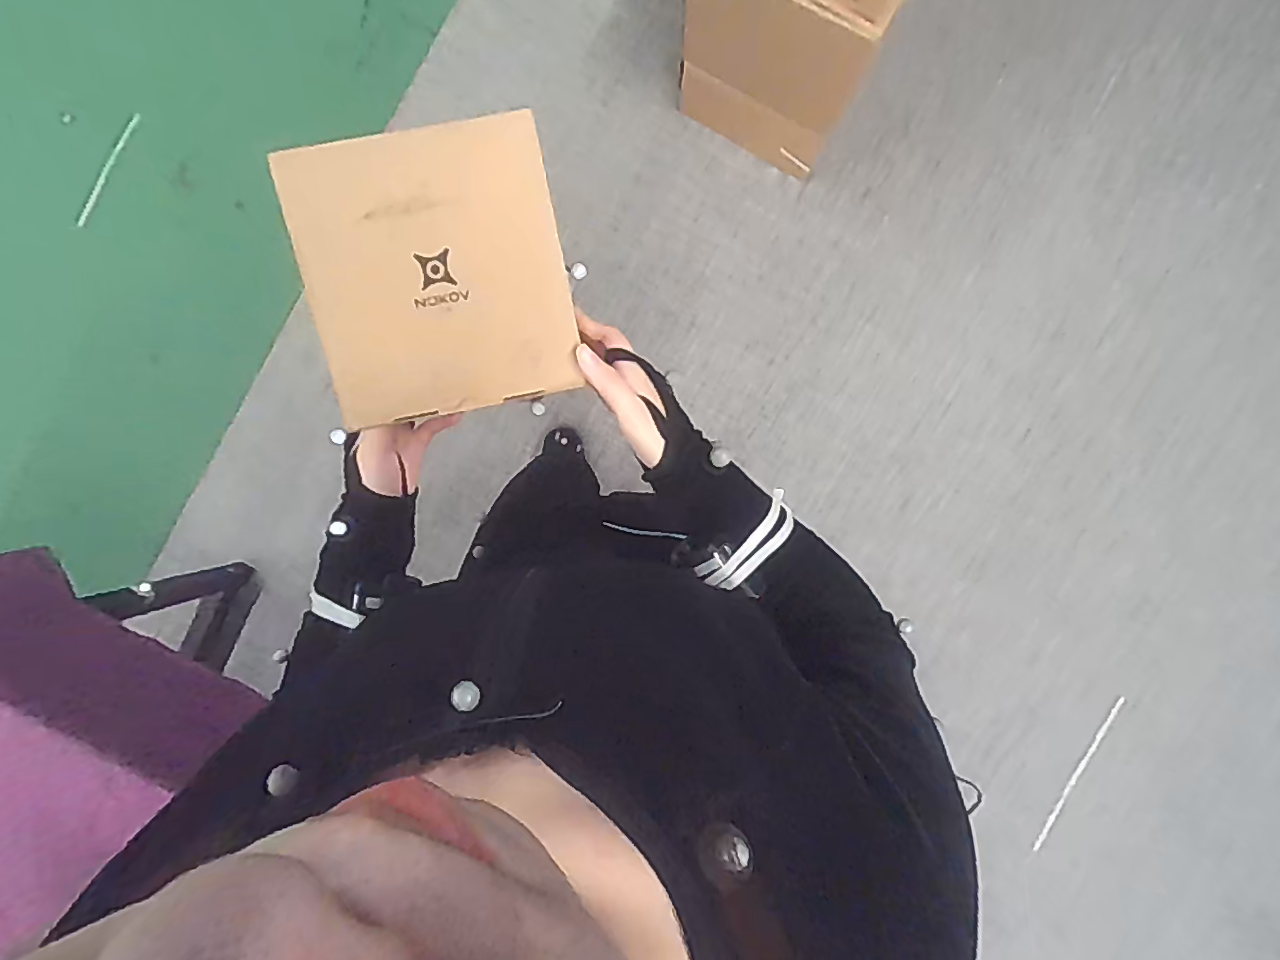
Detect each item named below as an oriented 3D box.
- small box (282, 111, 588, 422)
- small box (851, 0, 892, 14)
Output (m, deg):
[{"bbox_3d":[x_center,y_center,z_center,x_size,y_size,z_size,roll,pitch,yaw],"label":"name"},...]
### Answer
[{"bbox_3d":[-0.135,-0.151,0.431,0.168,0.176,0.179,-10,101,-4],"label":"small box"},{"bbox_3d":[0.417,-0.964,0.911,0.168,0.176,0.179,31,93,1],"label":"small box"}]
